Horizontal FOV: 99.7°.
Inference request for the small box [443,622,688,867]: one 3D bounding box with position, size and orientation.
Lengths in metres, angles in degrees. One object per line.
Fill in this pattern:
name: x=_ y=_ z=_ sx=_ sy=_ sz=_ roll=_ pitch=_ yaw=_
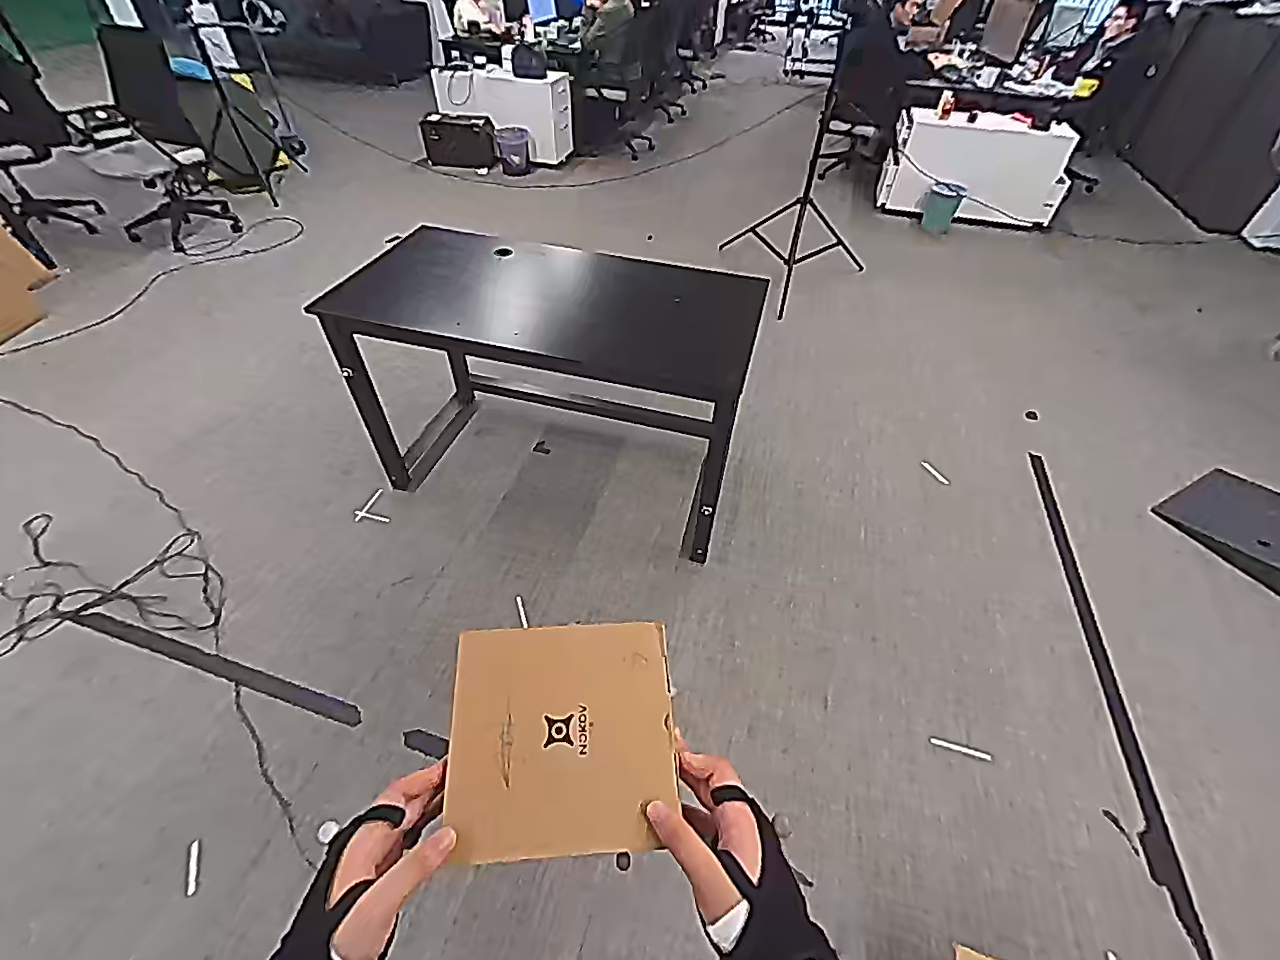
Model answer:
small box: x=-0.061 y=0.239 z=0.491 sx=0.179 sy=0.176 sz=0.168 roll=-3 pitch=57 yaw=-5
